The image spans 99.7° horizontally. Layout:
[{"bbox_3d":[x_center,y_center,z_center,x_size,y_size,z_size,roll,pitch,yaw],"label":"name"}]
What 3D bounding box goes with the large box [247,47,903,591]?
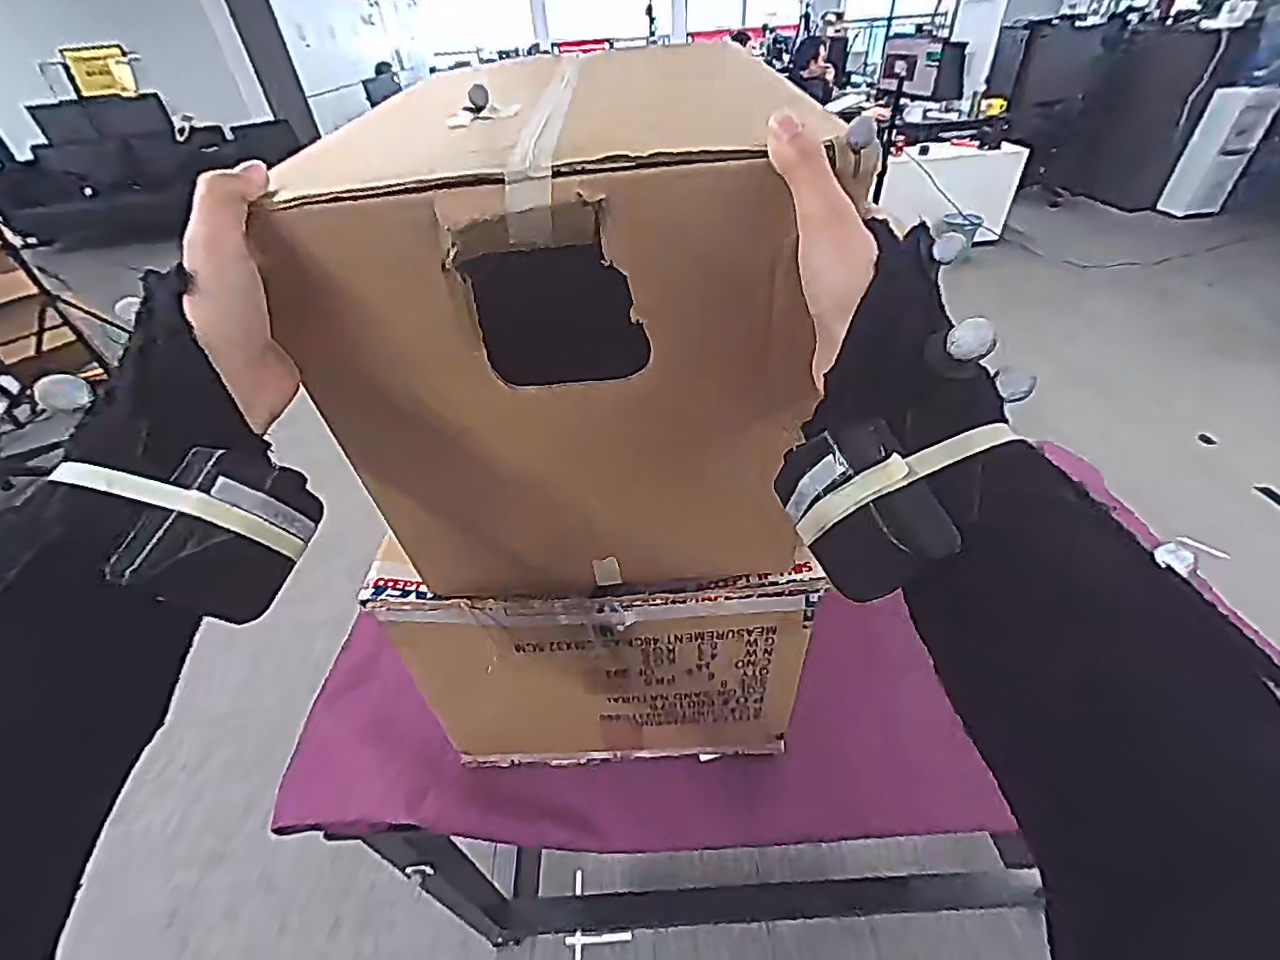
[{"bbox_3d":[-0.031,-0.160,0.489,0.320,0.320,0.408,-6,44,2],"label":"large box"}]
